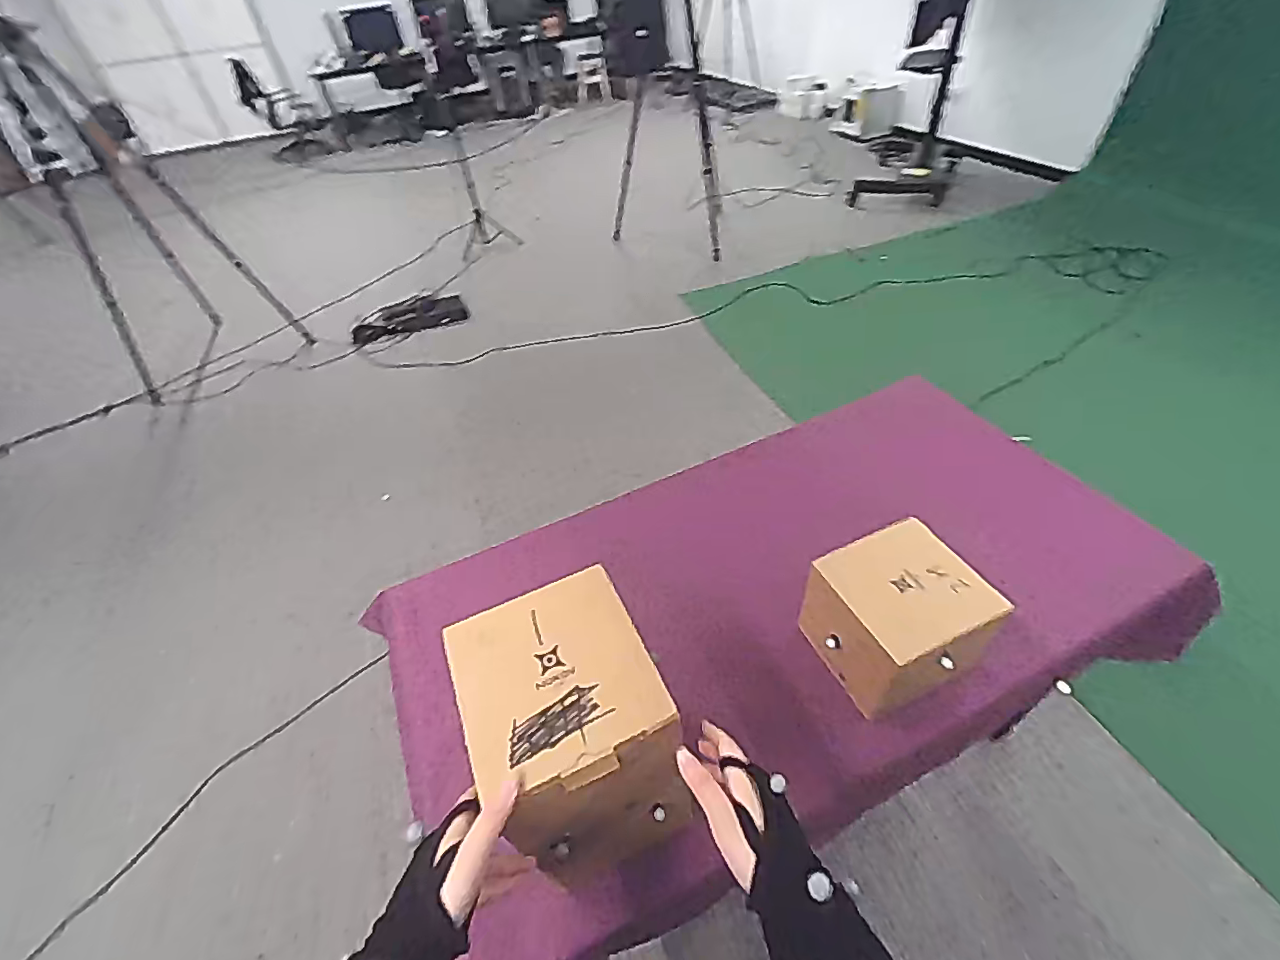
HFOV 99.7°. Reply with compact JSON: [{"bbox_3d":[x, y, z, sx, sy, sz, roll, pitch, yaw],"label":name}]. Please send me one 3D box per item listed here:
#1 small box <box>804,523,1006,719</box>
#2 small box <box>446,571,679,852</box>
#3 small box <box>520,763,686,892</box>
[{"bbox_3d":[0.344,0.196,0.746,0.179,0.176,0.168,-20,47,-13],"label":"small box"},{"bbox_3d":[-0.070,0.229,0.530,0.168,0.176,0.179,-21,45,-15],"label":"small box"},{"bbox_3d":[-0.056,0.348,0.643,0.179,0.176,0.168,-21,46,-15],"label":"small box"}]
